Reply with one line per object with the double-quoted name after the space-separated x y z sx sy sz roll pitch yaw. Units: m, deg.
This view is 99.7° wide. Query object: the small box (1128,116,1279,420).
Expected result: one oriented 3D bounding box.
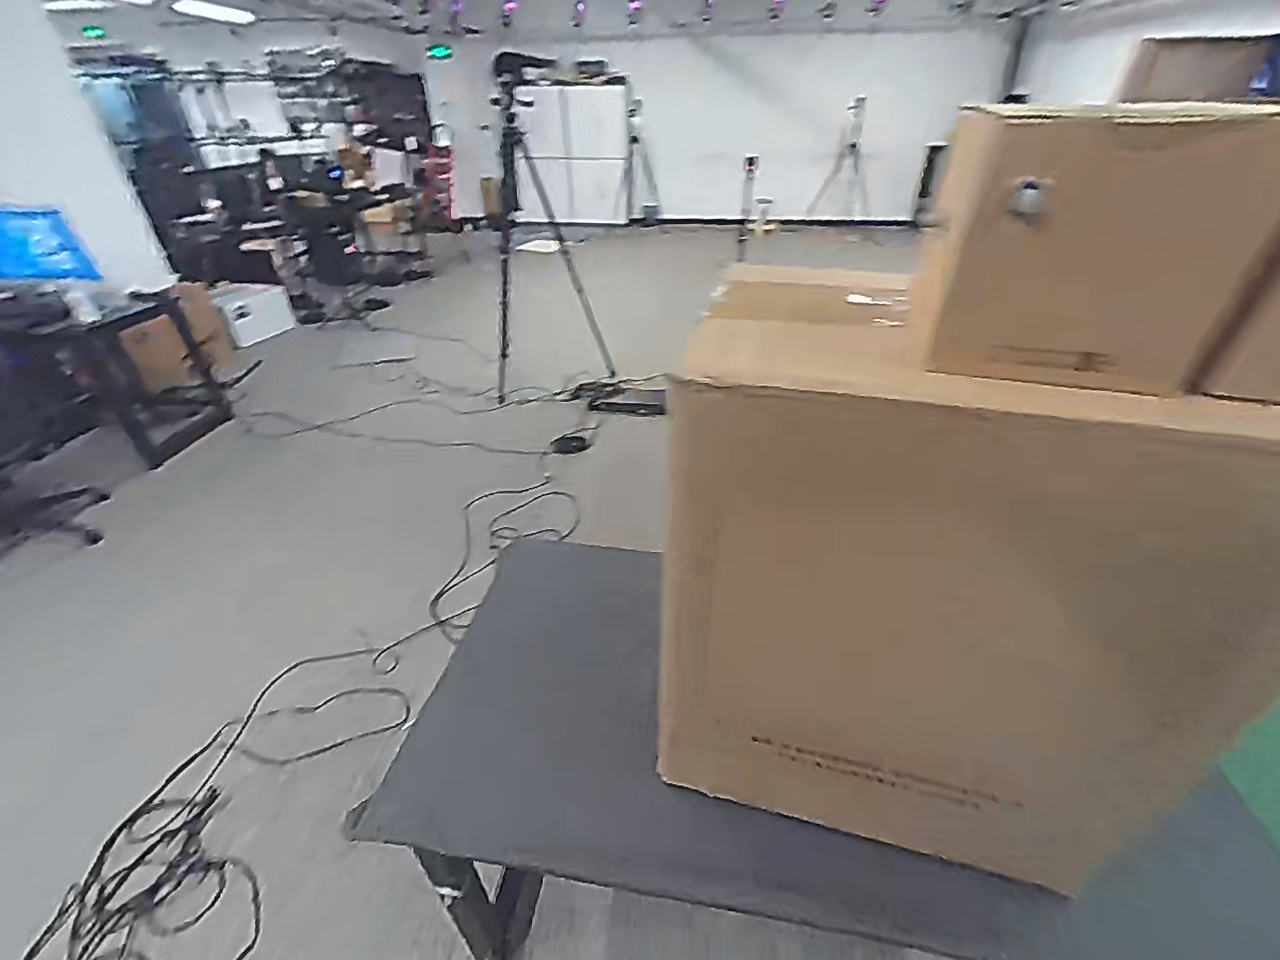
0.502 -0.143 0.374 0.168 0.176 0.179 10 37 11 "small box"
